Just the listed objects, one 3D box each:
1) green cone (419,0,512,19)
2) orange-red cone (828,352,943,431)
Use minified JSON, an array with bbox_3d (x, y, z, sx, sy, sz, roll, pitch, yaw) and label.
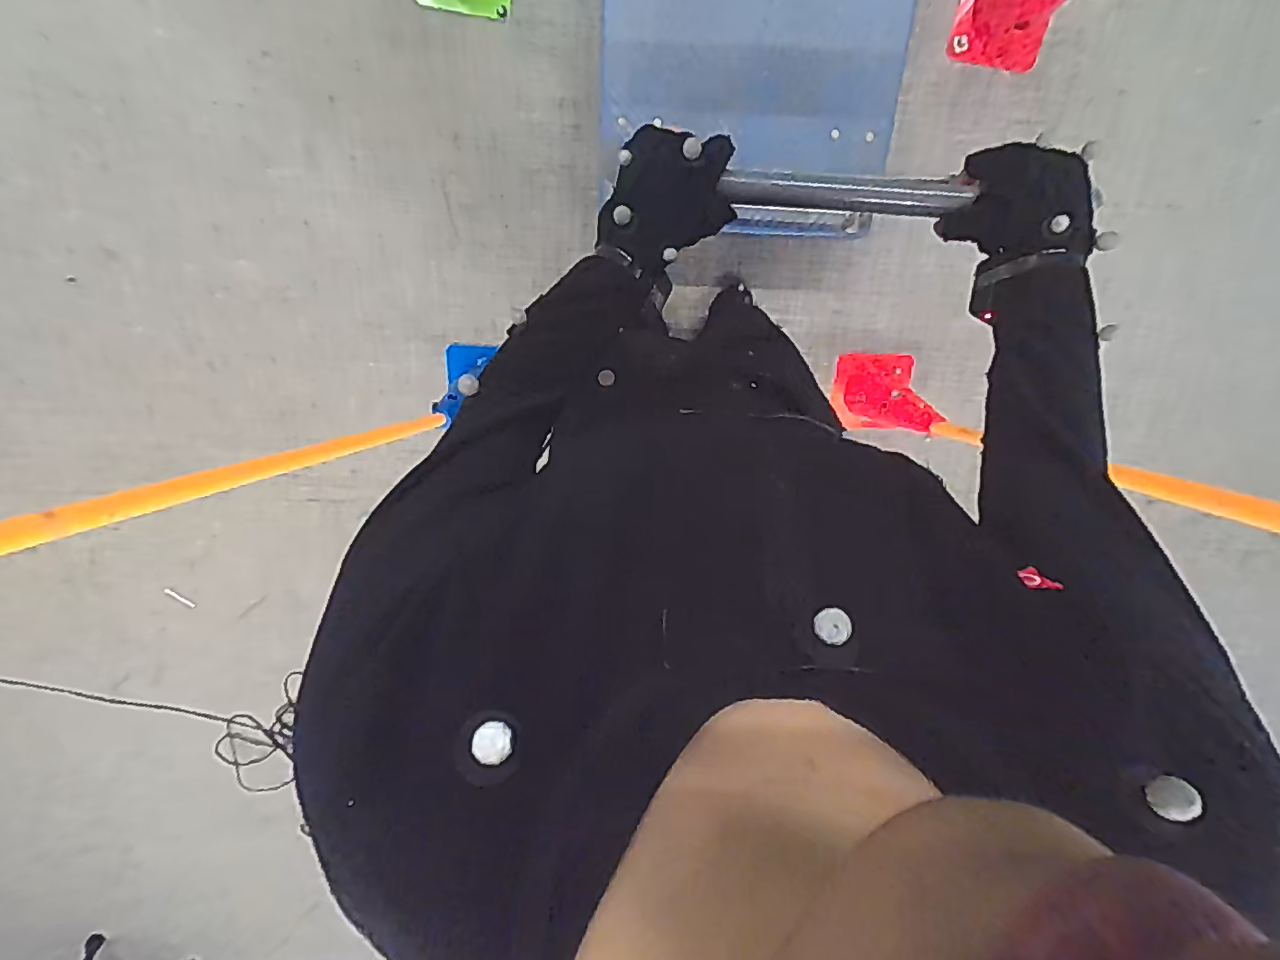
[{"bbox_3d":[-0.359,-1.018,0.944,0.202,0.368,0.200,7,110,-2],"label":"green cone"},{"bbox_3d":[0.604,-0.177,1.273,0.199,0.360,0.198,3,110,0],"label":"orange-red cone"}]
